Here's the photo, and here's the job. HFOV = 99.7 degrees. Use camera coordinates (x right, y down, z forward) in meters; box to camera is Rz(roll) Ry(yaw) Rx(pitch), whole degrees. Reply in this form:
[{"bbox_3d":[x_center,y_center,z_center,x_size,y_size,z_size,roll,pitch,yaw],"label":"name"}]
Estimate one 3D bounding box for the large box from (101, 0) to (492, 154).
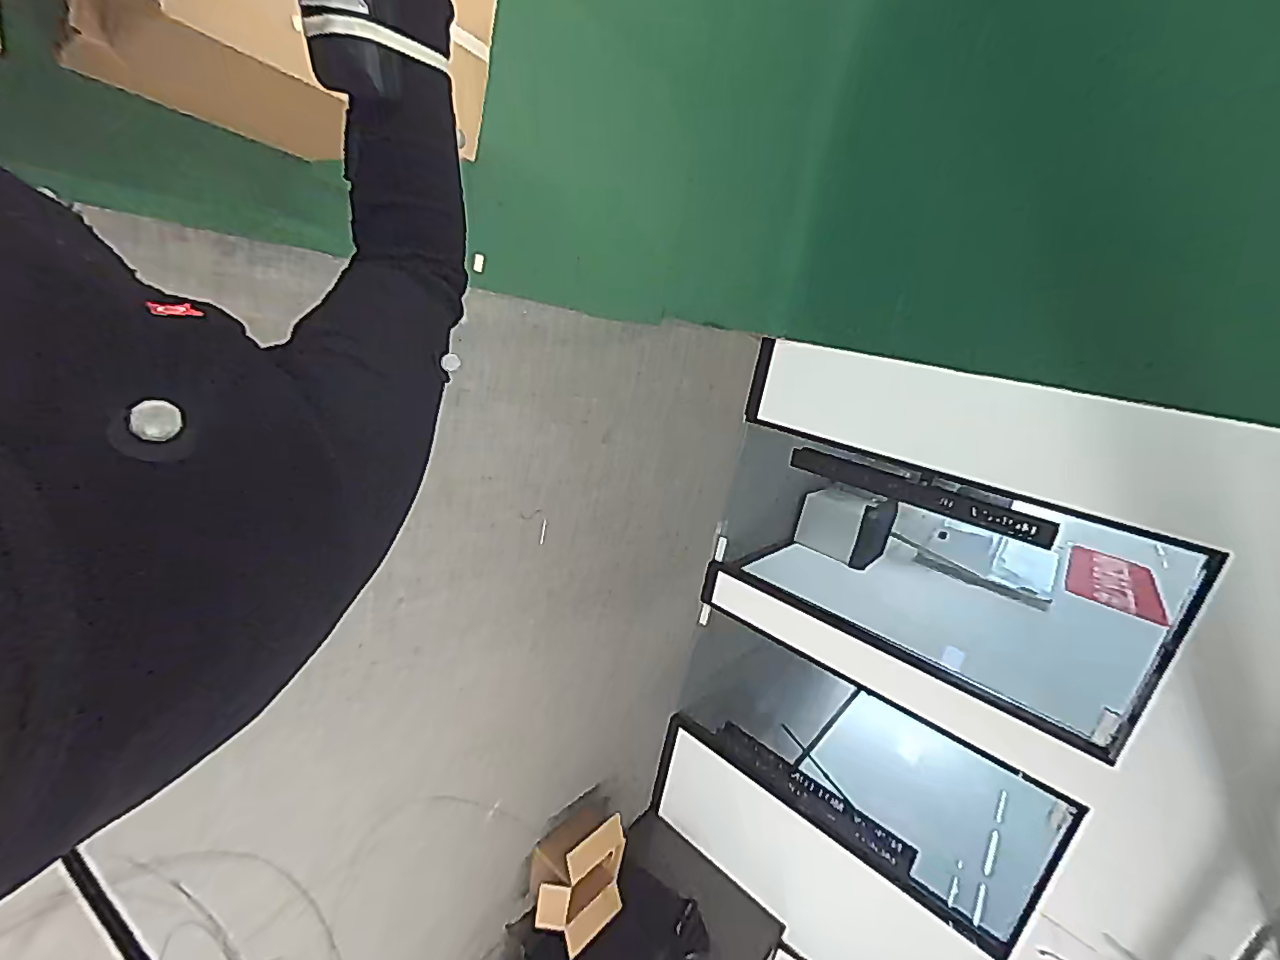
[{"bbox_3d":[-0.481,-0.718,0.782,0.408,0.320,0.320,-5,114,-52],"label":"large box"}]
